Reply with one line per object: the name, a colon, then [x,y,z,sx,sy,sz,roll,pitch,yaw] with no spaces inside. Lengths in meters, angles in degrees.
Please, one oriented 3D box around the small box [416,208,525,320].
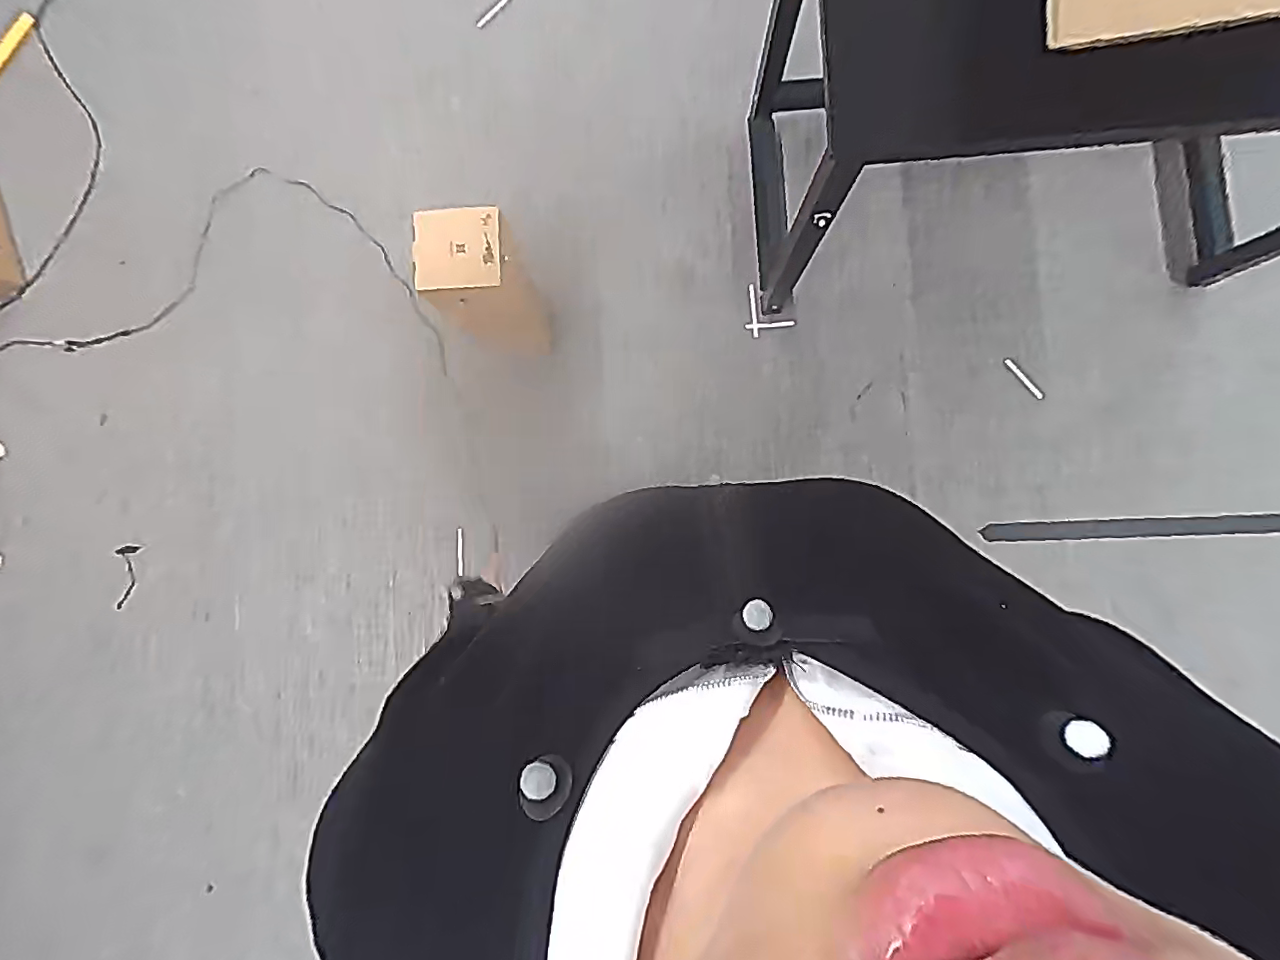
small box: [-0.356,-0.452,1.158,0.179,0.176,0.168,-3,86,3]
